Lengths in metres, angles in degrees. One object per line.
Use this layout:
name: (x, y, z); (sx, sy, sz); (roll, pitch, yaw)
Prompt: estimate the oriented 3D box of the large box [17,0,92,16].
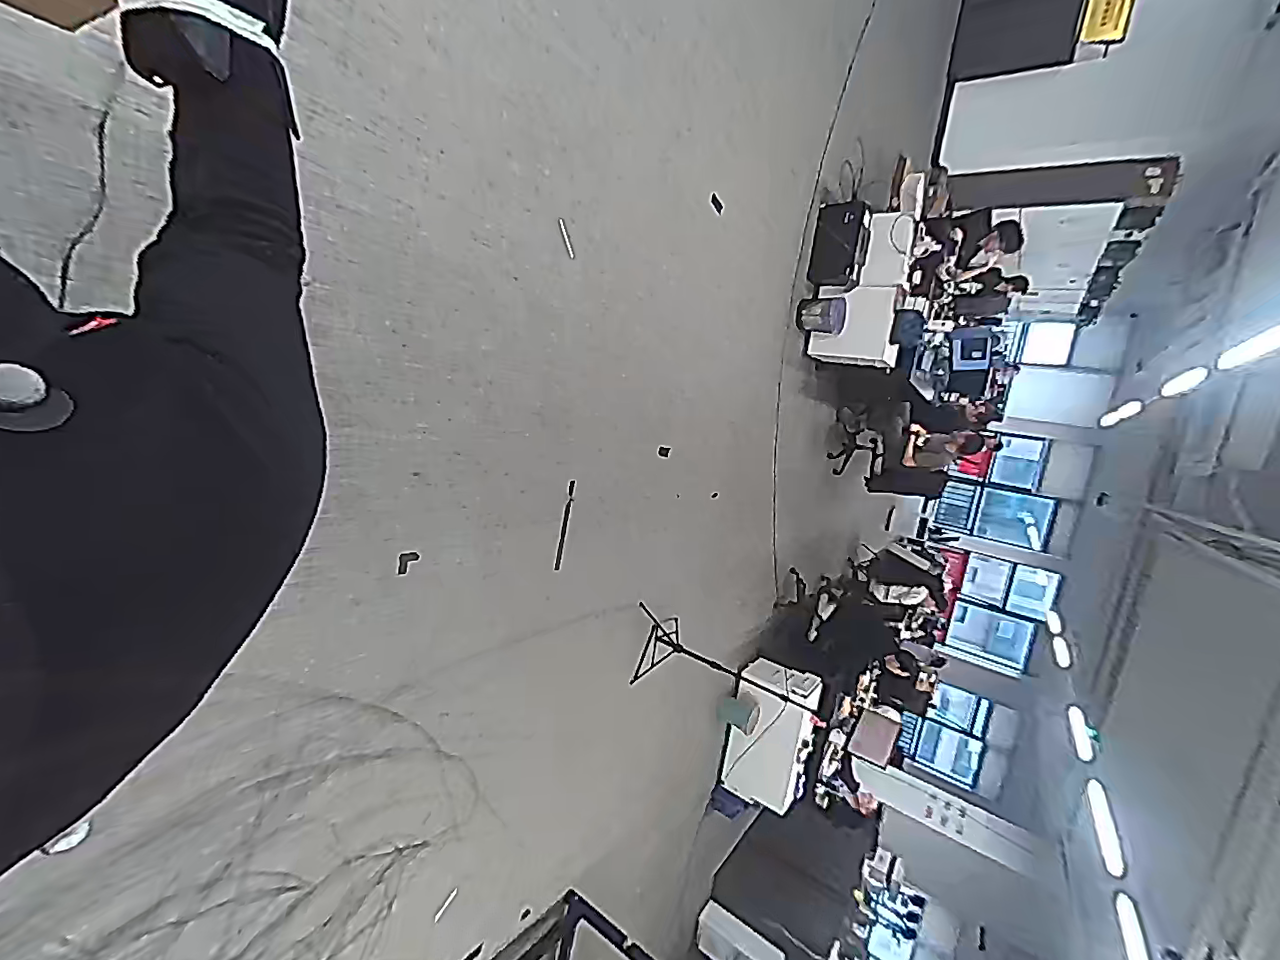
large box: (-0.513, -0.521, 0.244); (0.408, 0.320, 0.320); (-6, 115, -56)
